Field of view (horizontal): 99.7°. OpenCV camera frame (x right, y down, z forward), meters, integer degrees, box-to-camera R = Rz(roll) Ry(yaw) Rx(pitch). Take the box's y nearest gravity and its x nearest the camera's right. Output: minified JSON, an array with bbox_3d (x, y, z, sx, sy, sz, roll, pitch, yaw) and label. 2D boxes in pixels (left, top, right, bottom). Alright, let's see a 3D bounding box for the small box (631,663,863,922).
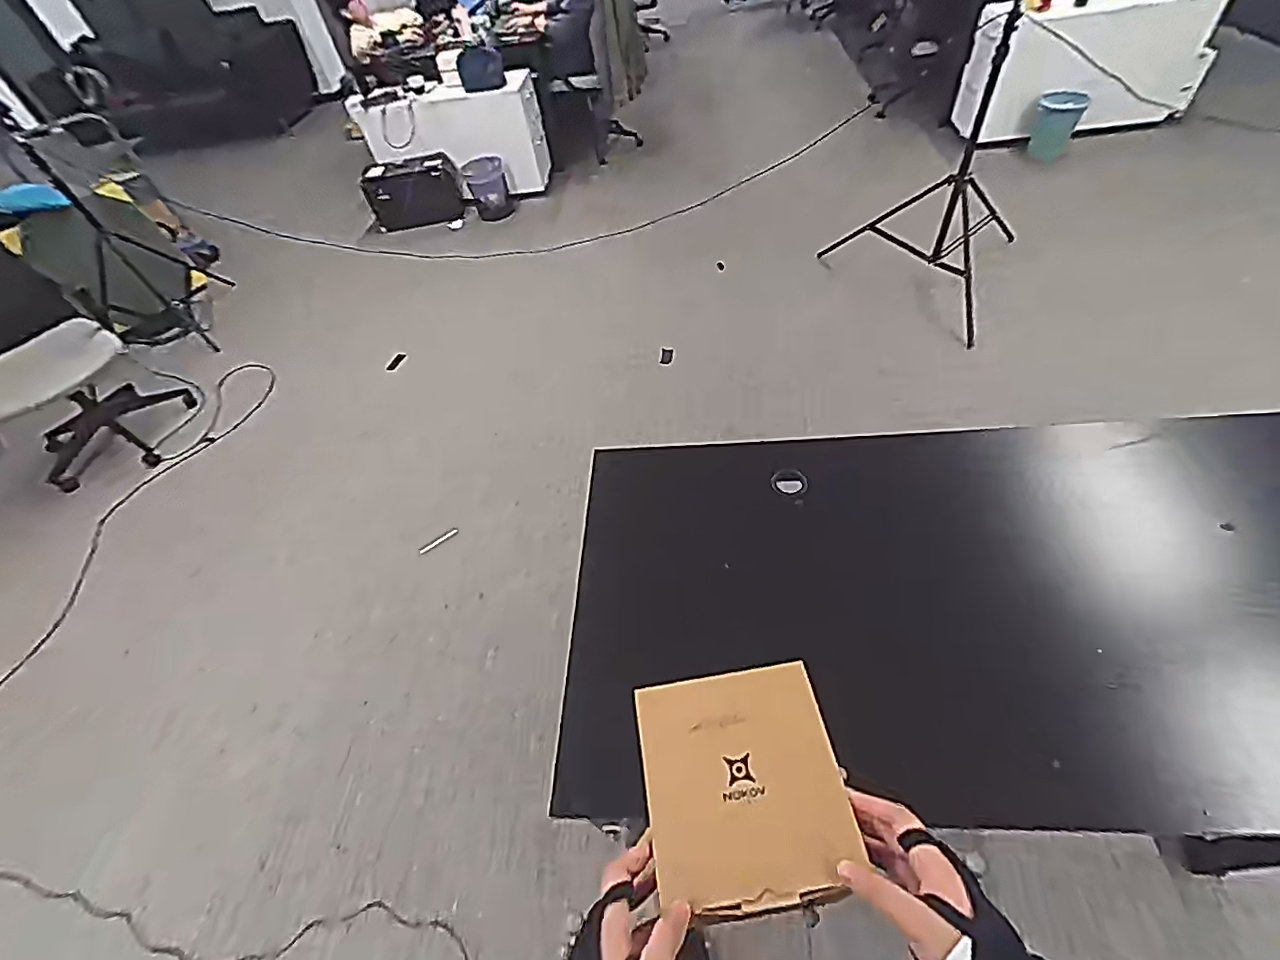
[{"bbox_3d":[0.090,0.304,0.520,0.168,0.176,0.179,-9,47,0],"label":"small box"}]
